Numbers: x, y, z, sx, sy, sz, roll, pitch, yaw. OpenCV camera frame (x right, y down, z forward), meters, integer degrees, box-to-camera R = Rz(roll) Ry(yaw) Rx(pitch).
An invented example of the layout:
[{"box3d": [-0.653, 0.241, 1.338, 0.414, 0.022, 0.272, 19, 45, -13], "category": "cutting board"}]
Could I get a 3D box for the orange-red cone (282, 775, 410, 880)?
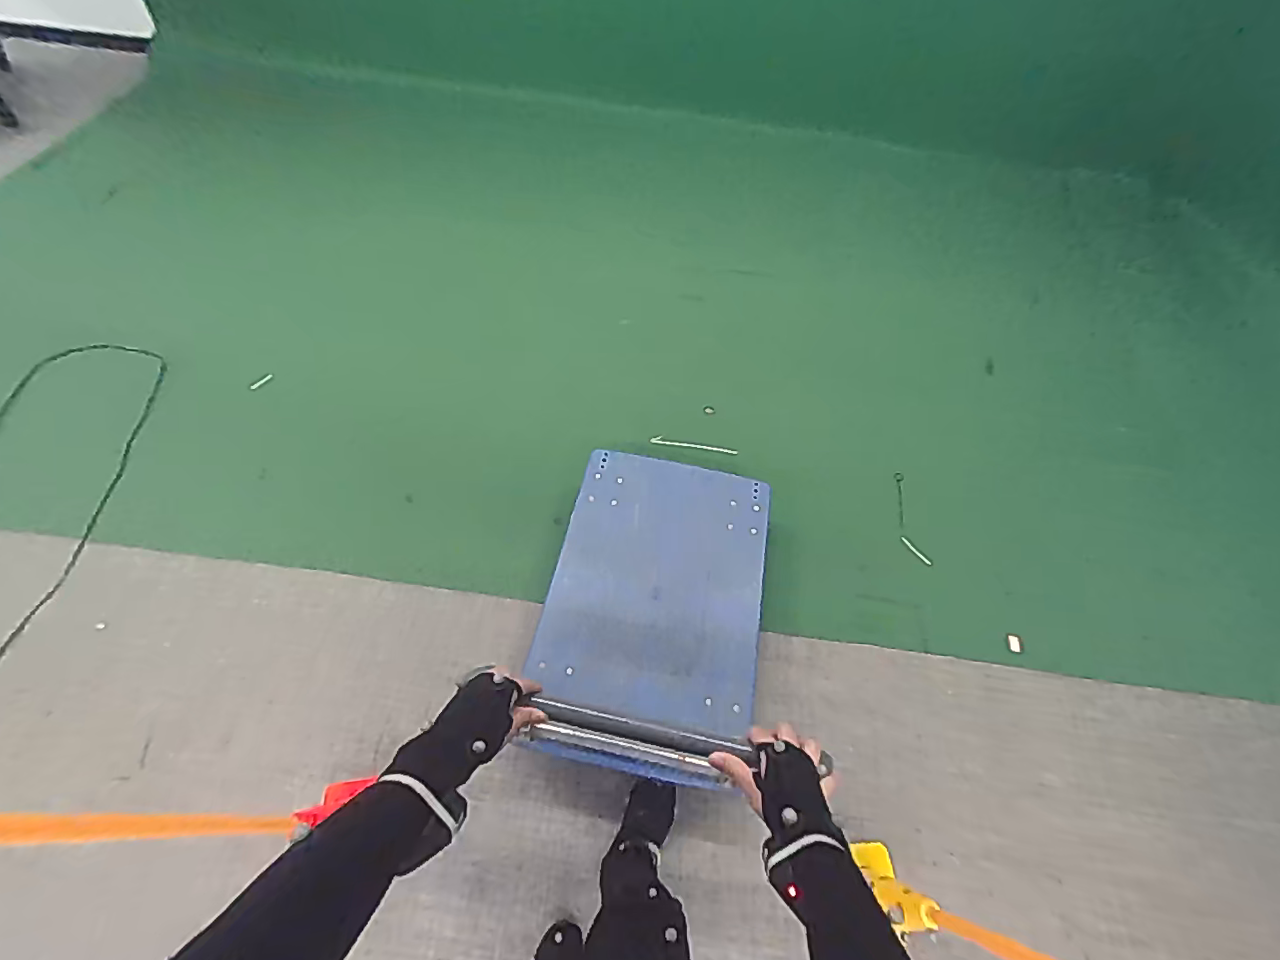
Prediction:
[{"box3d": [-0.653, 0.733, 1.147, 0.199, 0.360, 0.198, -5, 58, -6], "category": "orange-red cone"}]
